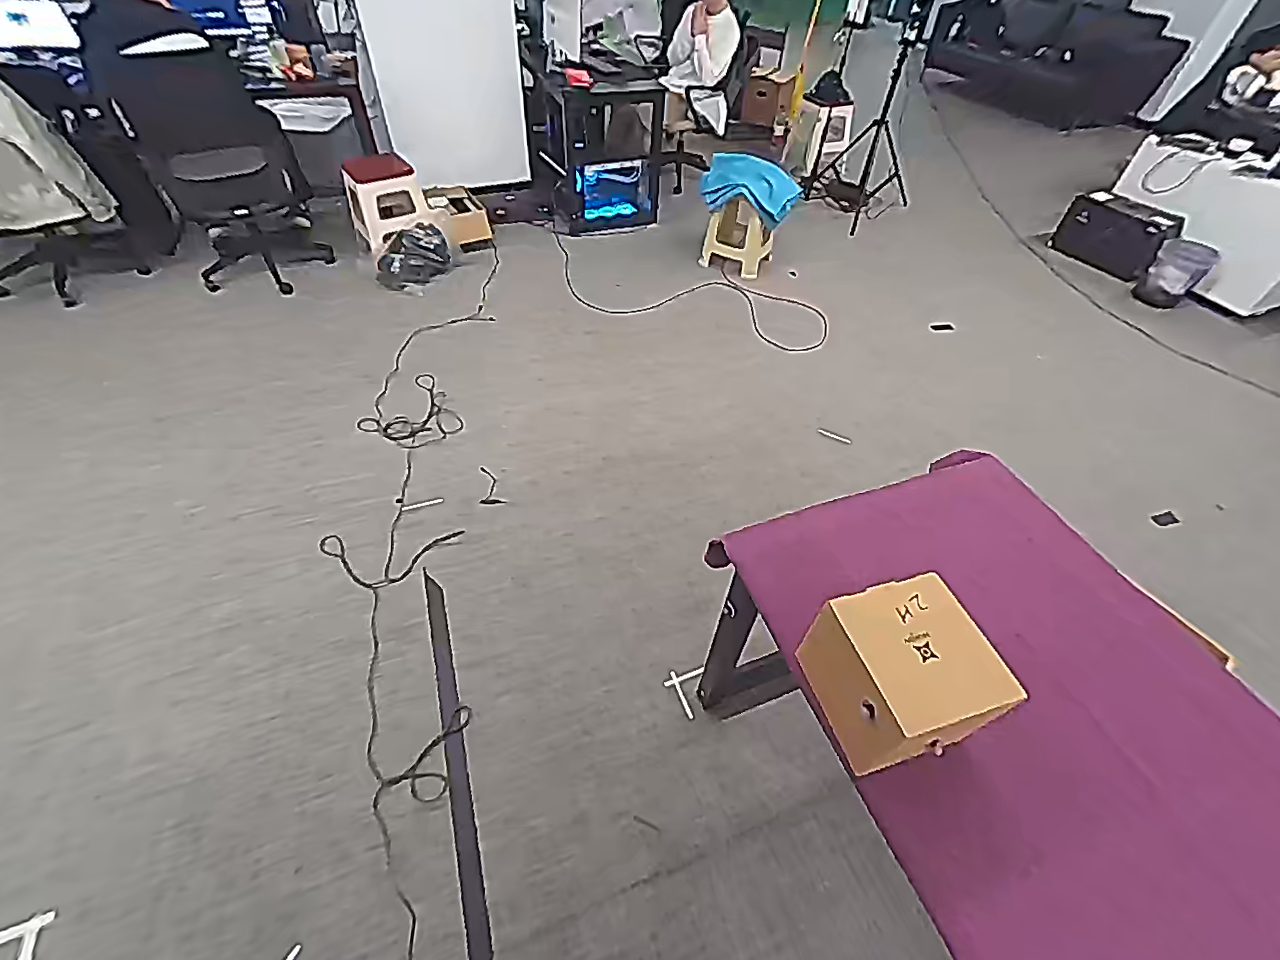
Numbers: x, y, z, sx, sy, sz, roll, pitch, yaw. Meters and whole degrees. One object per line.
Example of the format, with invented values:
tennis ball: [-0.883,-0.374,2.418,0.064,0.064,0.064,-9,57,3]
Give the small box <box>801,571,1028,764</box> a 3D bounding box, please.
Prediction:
small box: [0.339,0.251,0.709,0.168,0.176,0.179,-11,50,-13]
